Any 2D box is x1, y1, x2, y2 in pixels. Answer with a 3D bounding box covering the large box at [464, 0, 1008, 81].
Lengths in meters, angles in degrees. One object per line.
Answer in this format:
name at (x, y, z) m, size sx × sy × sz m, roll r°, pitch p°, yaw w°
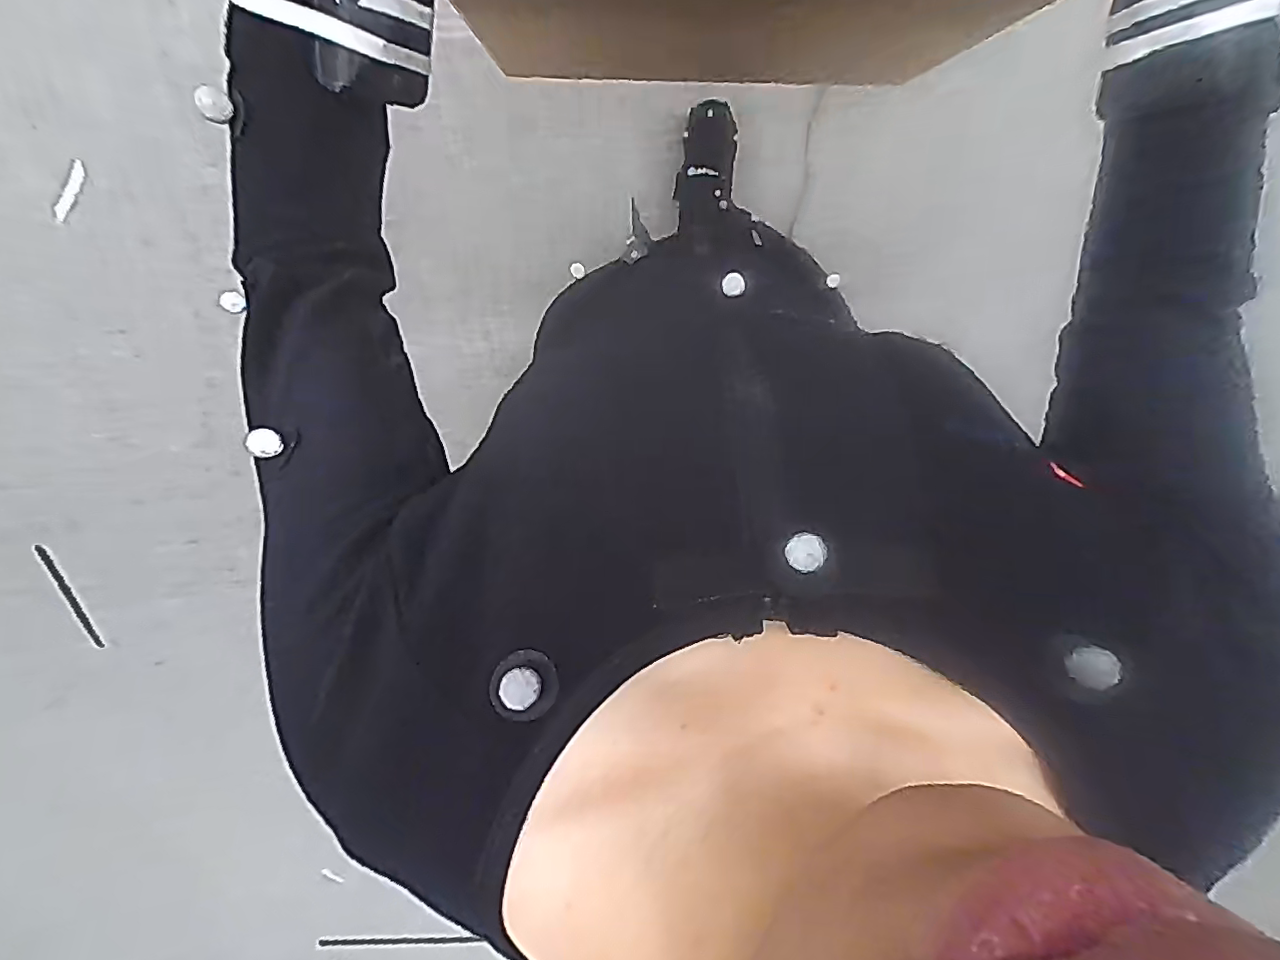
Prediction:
large box at (0.068, -0.487, 0.349) m, size 0.408 × 0.320 × 0.320 m, roll -1°, pitch 114°, yaw -2°
